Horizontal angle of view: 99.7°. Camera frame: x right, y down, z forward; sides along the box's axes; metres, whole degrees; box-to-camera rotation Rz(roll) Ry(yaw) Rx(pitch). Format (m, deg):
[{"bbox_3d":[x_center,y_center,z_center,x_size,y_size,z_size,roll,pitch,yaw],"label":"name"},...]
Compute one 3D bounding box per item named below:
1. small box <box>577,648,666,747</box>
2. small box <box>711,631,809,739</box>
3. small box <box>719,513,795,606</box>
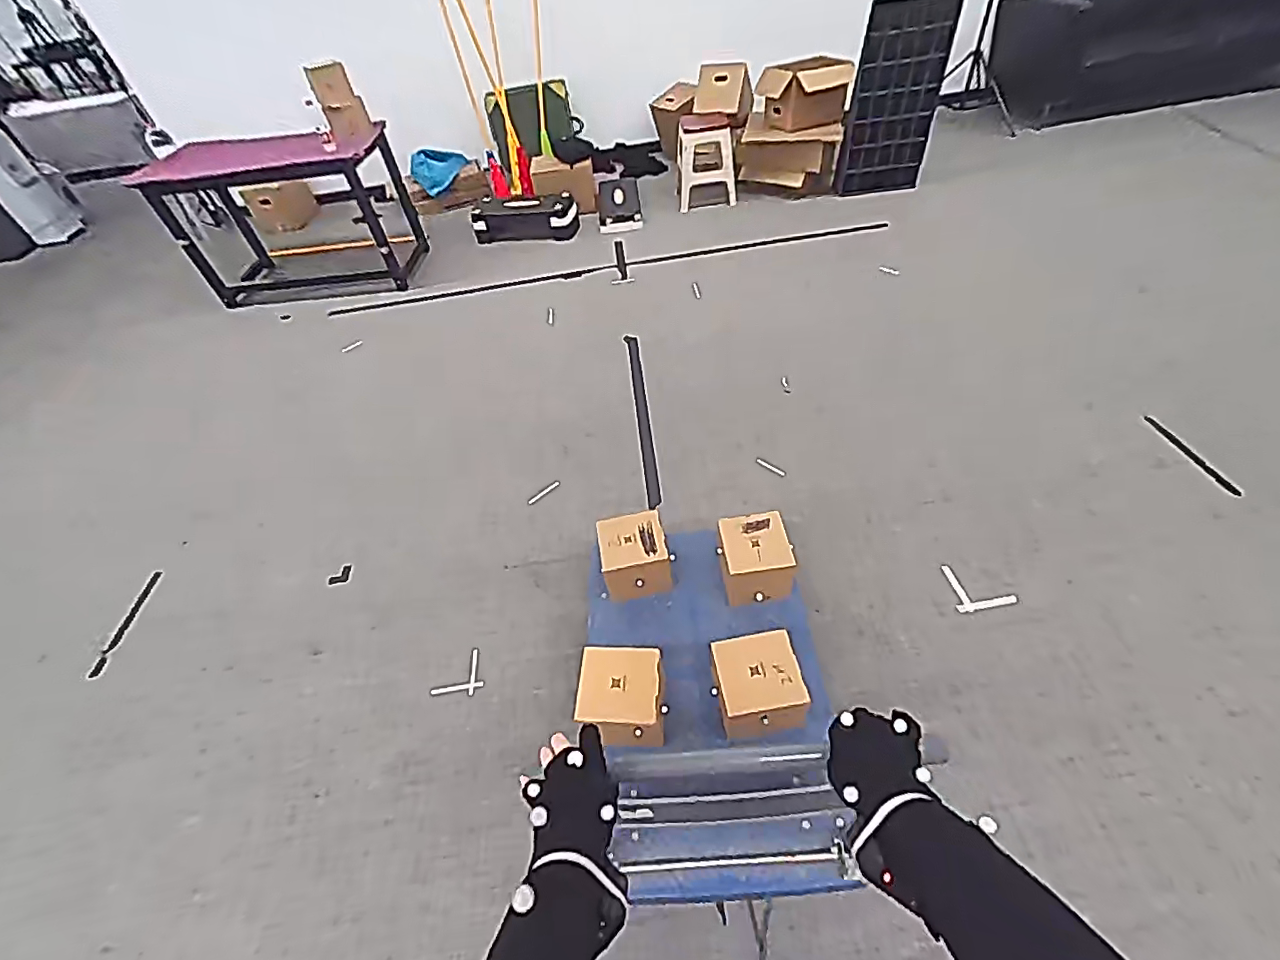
[{"bbox_3d":[-0.035,0.502,1.245,0.179,0.176,0.168,-1,47,6],"label":"small box"},{"bbox_3d":[0.266,0.469,1.228,0.179,0.176,0.168,-10,48,0],"label":"small box"},{"bbox_3d":[0.306,0.215,1.451,0.168,0.176,0.179,-8,48,2],"label":"small box"}]
